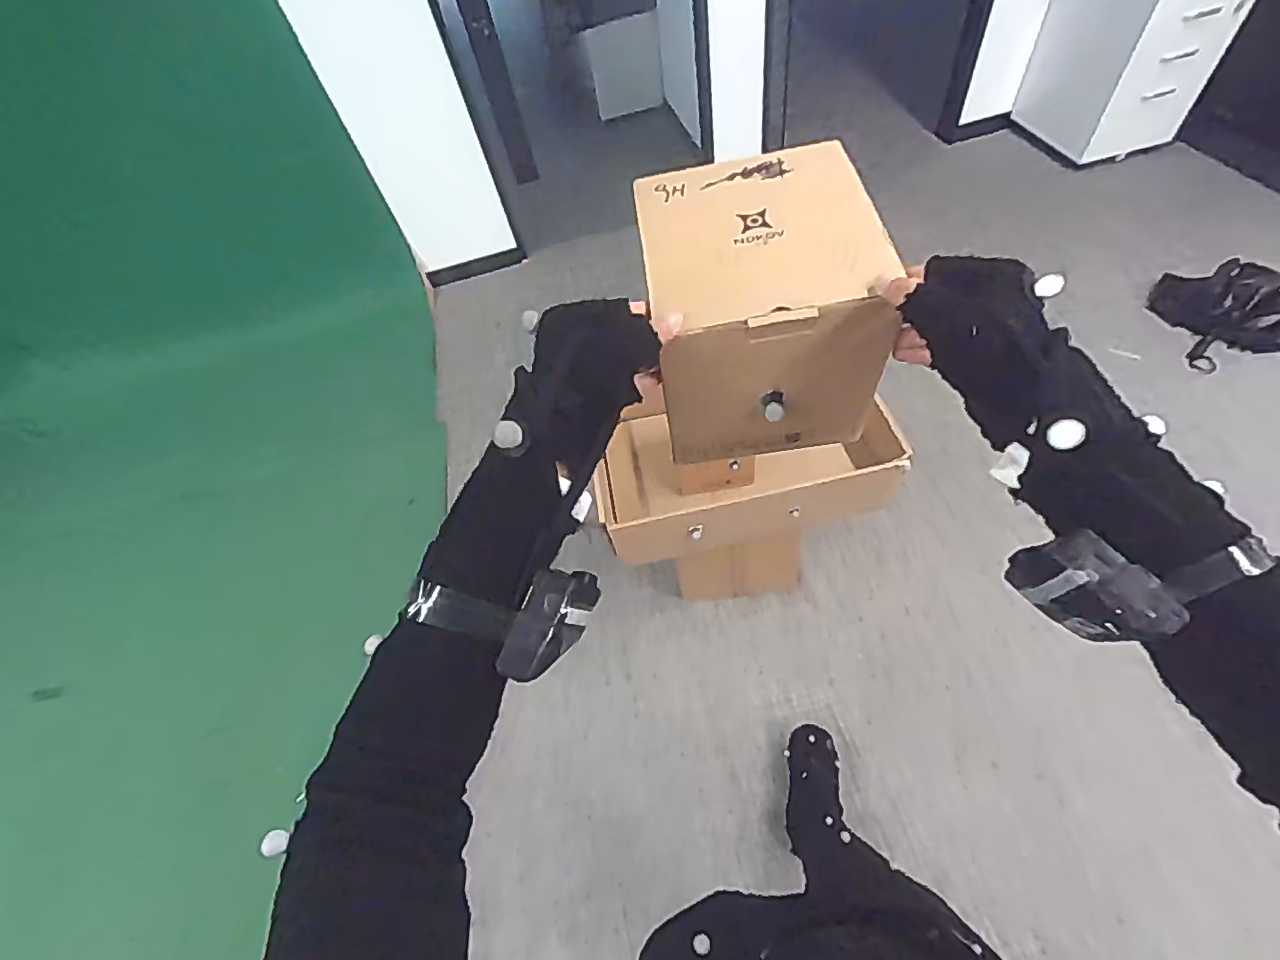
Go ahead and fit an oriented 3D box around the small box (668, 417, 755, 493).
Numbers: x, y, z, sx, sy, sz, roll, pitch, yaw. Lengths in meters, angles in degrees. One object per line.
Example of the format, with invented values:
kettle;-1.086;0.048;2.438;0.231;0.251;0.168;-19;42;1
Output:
small box;0.156;-0.086;1.198;0.168;0.176;0.179;-9;52;1

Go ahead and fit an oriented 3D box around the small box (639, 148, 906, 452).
small box;0.096;-0.136;0.459;0.168;0.176;0.179;-8;60;4
